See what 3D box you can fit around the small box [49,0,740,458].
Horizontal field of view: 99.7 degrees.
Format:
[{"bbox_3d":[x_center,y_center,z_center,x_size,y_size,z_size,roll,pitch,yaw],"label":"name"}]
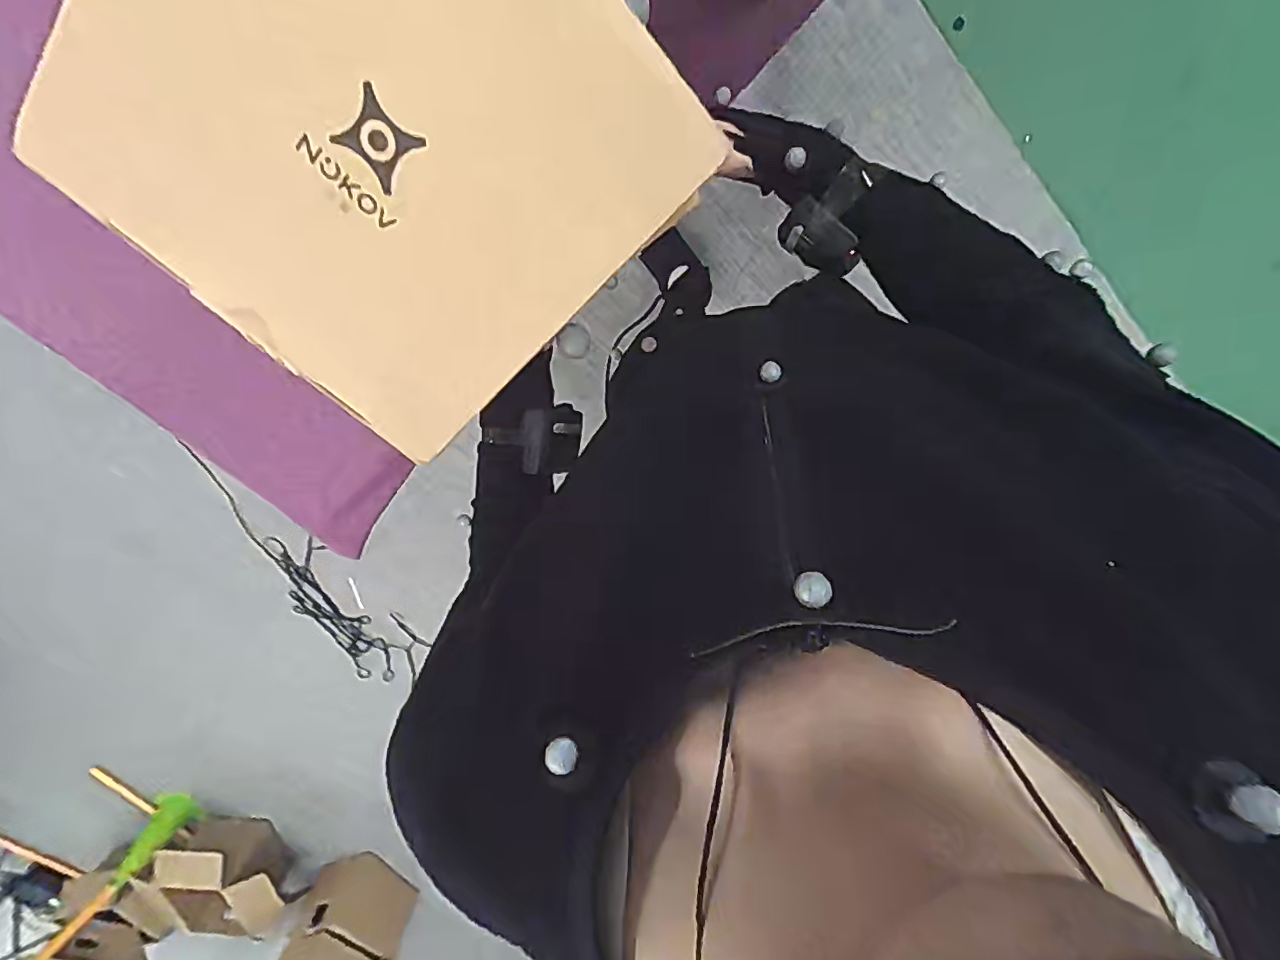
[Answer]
[{"bbox_3d":[-0.081,-0.150,0.250,0.179,0.176,0.168,-38,112,22],"label":"small box"}]
